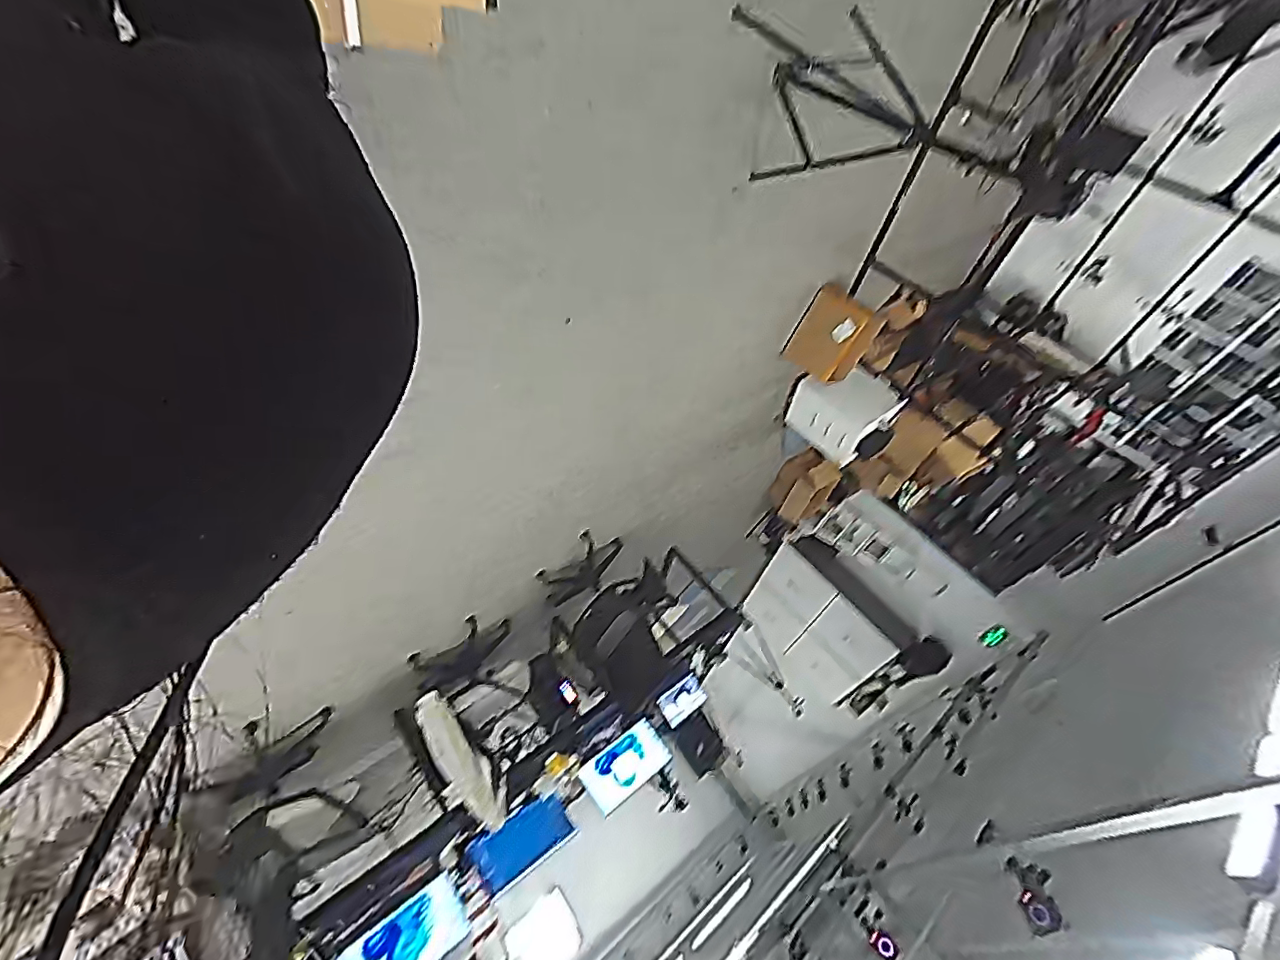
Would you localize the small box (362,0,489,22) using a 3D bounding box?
[{"bbox_3d":[-0.294,-0.677,0.637,0.179,0.176,0.168,-23,147,-33],"label":"small box"}]
